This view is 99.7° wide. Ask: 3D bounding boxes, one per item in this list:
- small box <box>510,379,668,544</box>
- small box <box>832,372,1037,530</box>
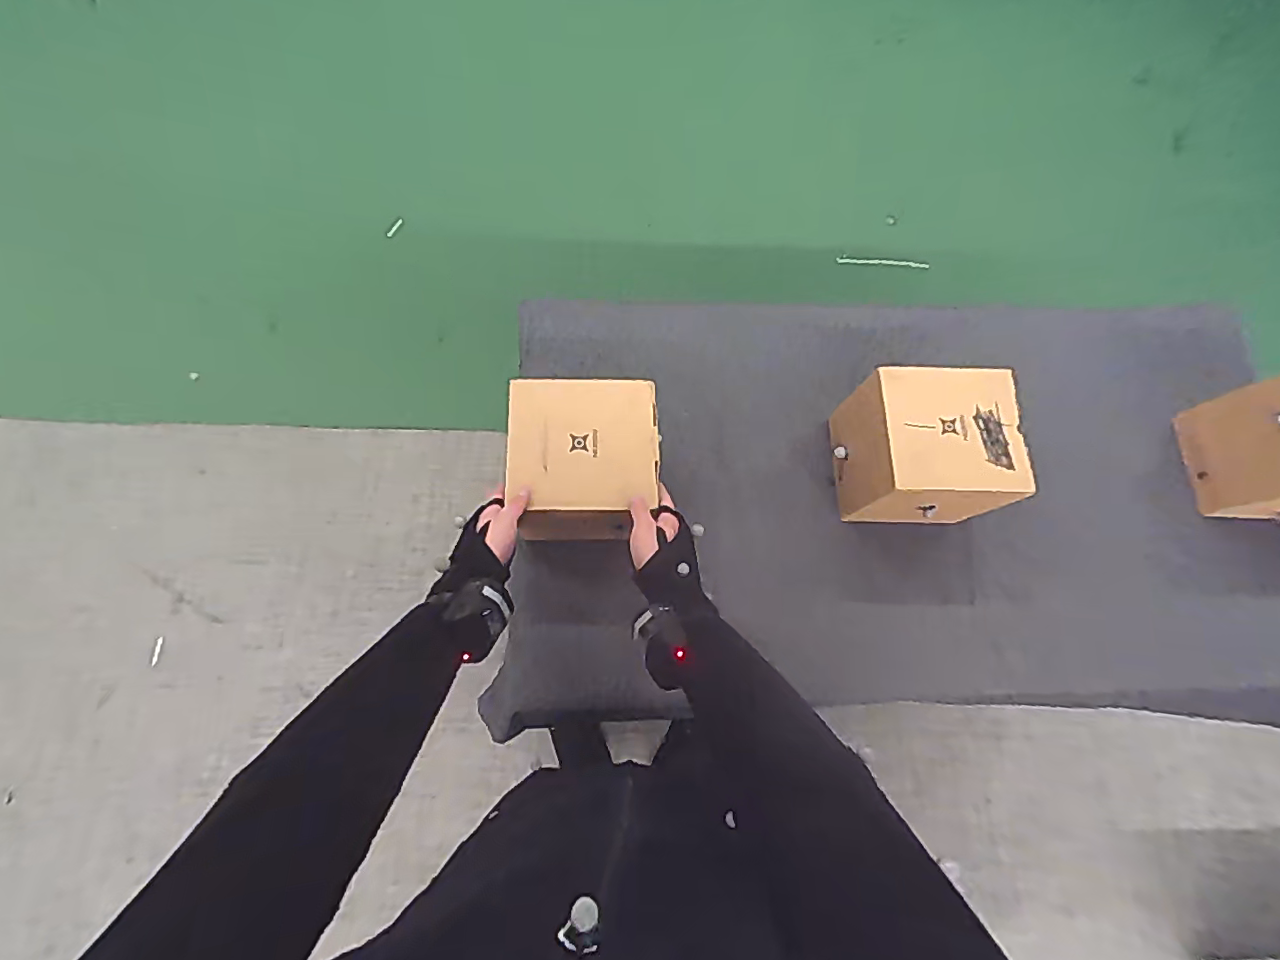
[{"bbox_3d":[-0.064,-0.016,0.696,0.179,0.176,0.168,0,70,-4],"label":"small box"},{"bbox_3d":[0.386,-0.030,0.740,0.179,0.176,0.168,2,72,-4],"label":"small box"}]
